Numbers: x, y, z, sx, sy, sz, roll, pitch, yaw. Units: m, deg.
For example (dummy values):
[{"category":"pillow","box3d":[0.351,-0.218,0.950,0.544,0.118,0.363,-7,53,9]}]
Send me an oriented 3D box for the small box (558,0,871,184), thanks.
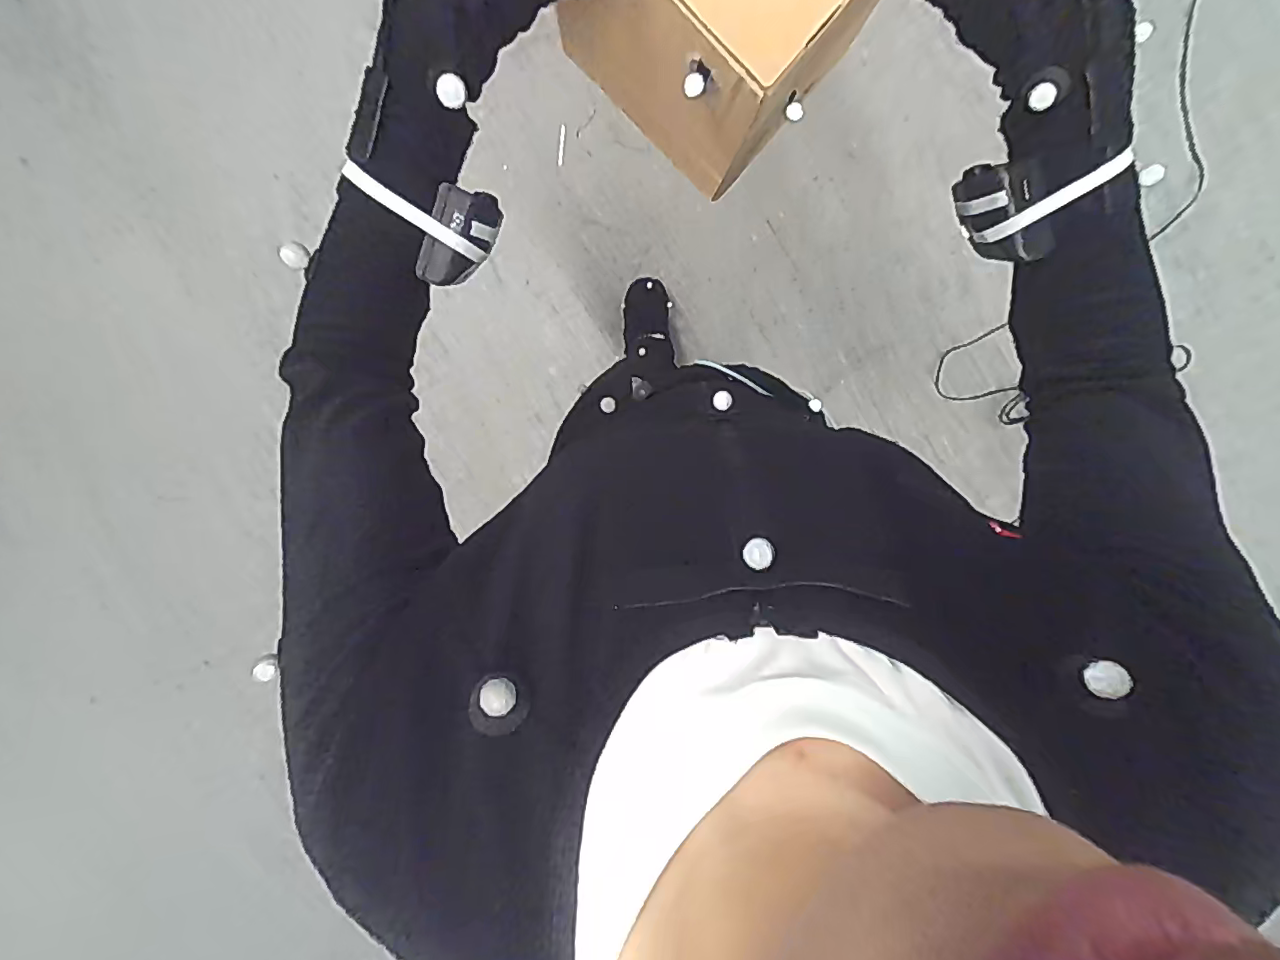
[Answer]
[{"category":"small box","box3d":[0.053,-0.347,0.367,0.179,0.176,0.168,42,94,-9]}]
